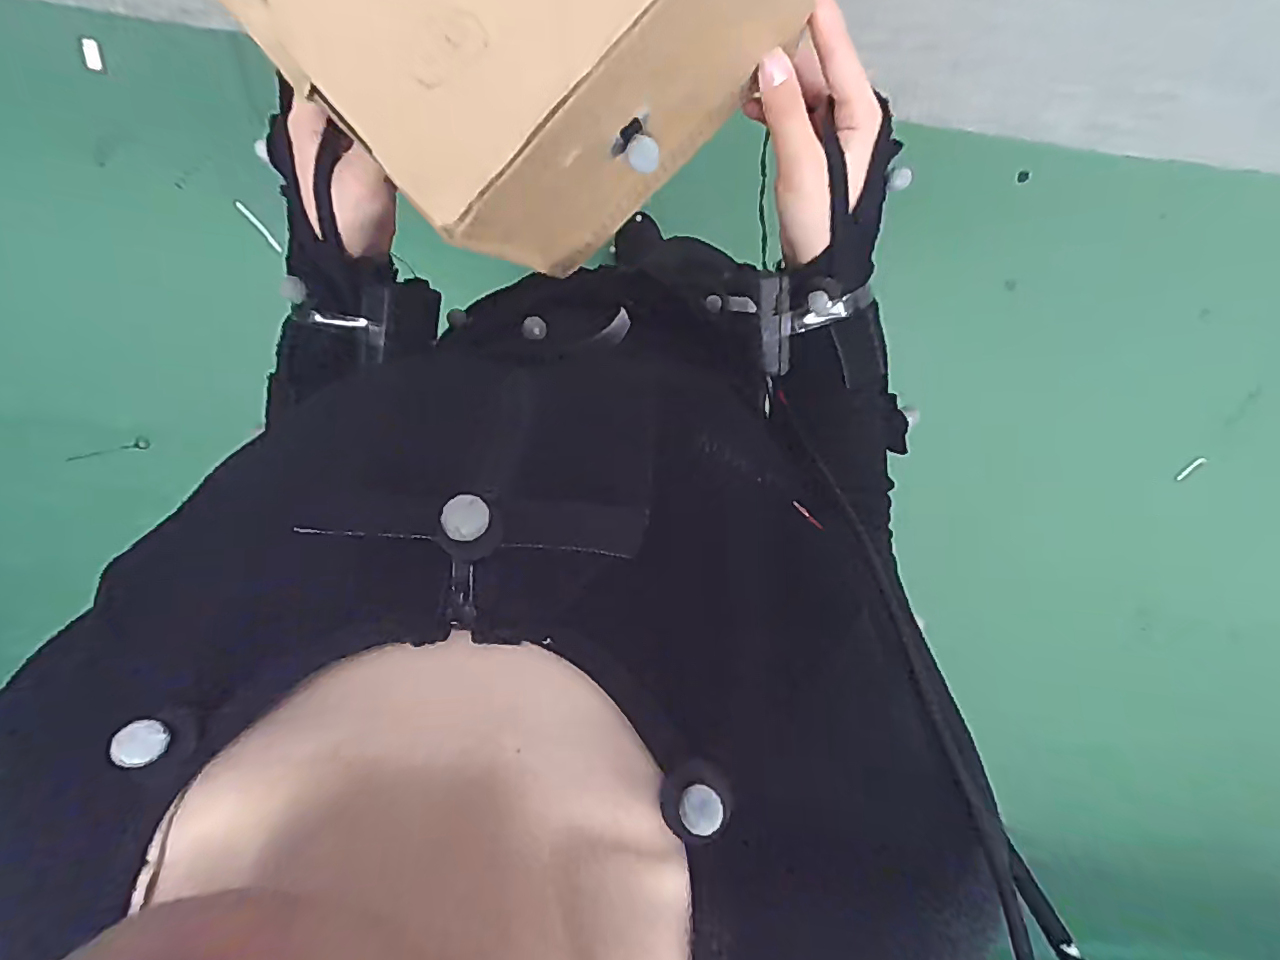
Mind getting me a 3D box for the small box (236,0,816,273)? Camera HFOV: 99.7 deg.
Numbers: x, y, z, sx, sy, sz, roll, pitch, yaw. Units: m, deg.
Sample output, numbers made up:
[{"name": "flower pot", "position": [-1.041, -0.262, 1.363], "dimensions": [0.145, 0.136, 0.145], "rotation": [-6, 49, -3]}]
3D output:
[{"name": "small box", "position": [-0.037, -0.208, 0.222], "dimensions": [0.179, 0.176, 0.168], "rotation": [-39, 98, 16]}]
